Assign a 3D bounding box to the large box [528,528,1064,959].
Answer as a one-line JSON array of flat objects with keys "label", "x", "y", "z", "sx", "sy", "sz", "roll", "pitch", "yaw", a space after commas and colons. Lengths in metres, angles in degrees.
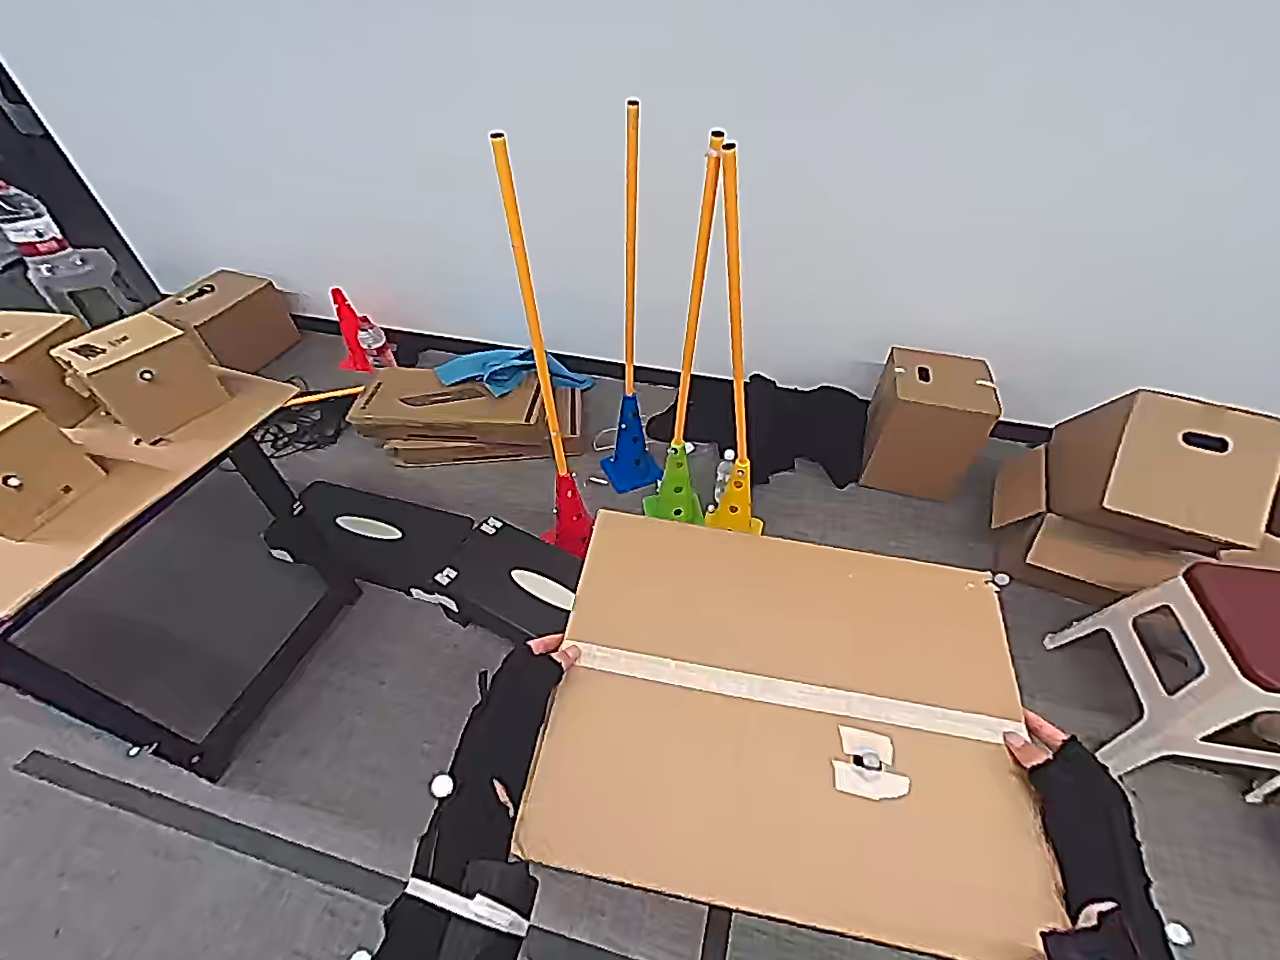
[{"label": "large box", "x": 0.126, "y": 0.288, "z": 0.603, "sx": 0.408, "sy": 0.320, "sz": 0.320, "roll": 9, "pitch": 54, "yaw": 5}]
